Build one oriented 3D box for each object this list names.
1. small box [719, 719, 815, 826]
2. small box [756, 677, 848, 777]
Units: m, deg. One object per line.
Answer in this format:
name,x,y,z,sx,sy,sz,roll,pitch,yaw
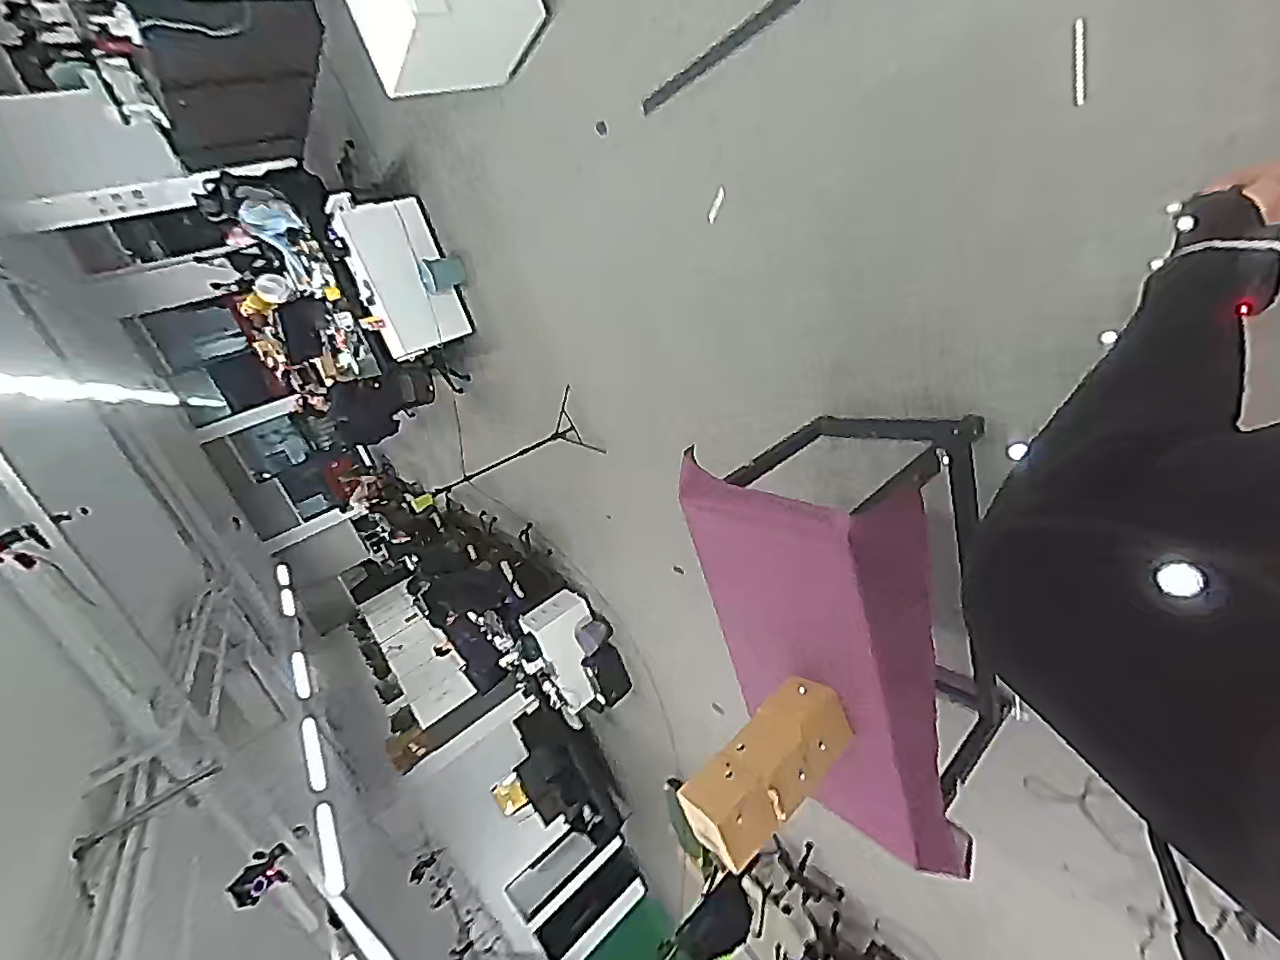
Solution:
small box,0.357,0.806,1.515,0.179,0.176,0.168,3,120,57
small box,0.478,0.714,1.582,0.168,0.176,0.179,-6,110,59
